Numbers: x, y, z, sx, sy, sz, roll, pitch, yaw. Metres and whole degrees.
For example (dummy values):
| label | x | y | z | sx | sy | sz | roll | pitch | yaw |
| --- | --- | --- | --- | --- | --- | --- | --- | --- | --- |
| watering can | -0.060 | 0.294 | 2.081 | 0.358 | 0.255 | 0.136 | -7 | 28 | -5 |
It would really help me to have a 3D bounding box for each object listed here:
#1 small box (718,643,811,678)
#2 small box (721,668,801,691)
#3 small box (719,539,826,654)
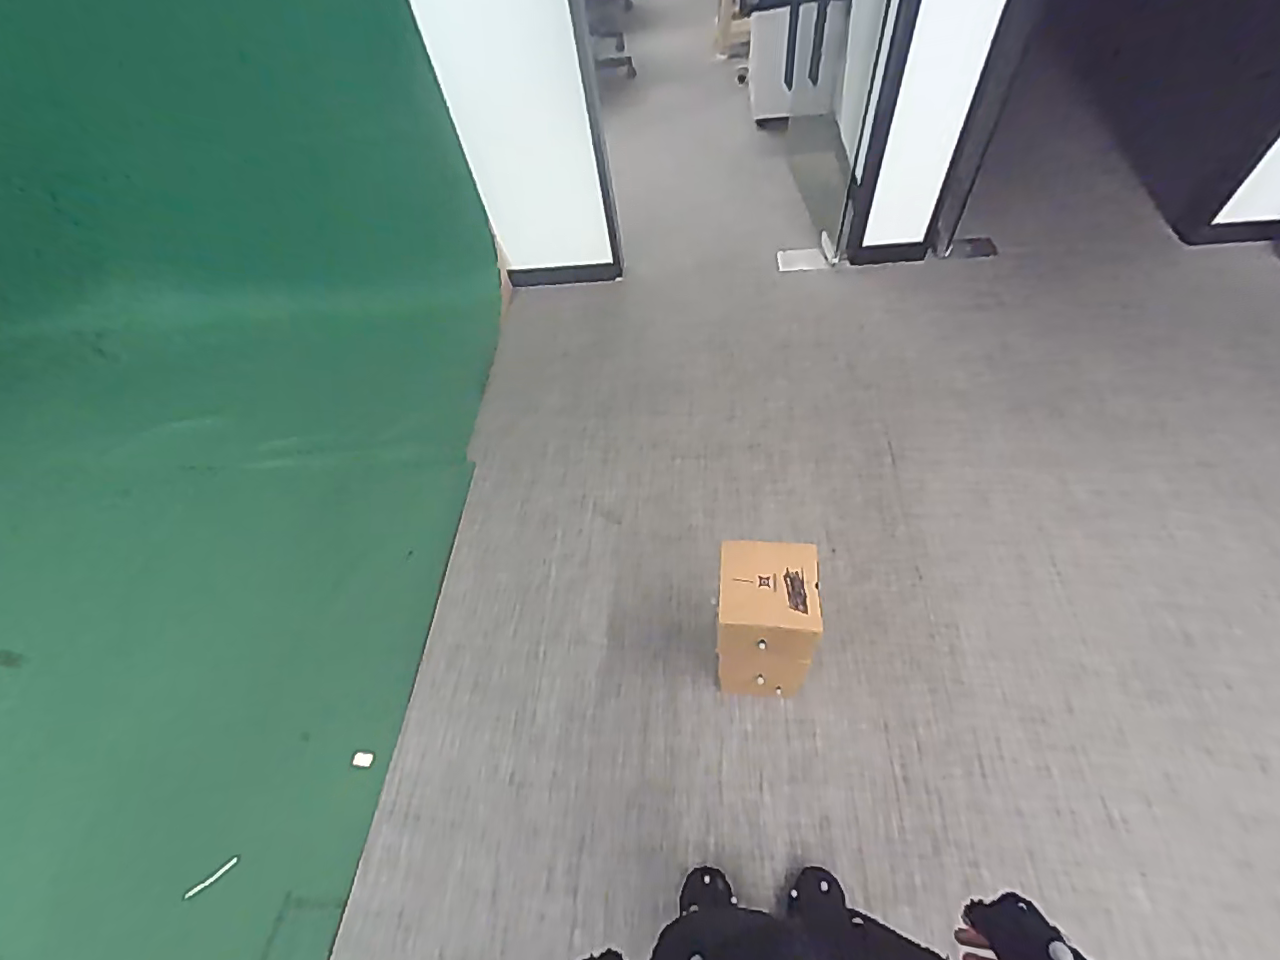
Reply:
| label | x | y | z | sx | sy | sz | roll | pitch | yaw |
| --- | --- | --- | --- | --- | --- | --- | --- | --- | --- |
| small box | 0.264 | 0.317 | 1.164 | 0.179 | 0.176 | 0.168 | 4 | 57 | 10 |
| small box | 0.285 | 0.402 | 1.302 | 0.179 | 0.176 | 0.168 | 0 | 56 | 10 |
| small box | 0.242 | 0.225 | 1.029 | 0.179 | 0.176 | 0.168 | 1 | 57 | 7 |
